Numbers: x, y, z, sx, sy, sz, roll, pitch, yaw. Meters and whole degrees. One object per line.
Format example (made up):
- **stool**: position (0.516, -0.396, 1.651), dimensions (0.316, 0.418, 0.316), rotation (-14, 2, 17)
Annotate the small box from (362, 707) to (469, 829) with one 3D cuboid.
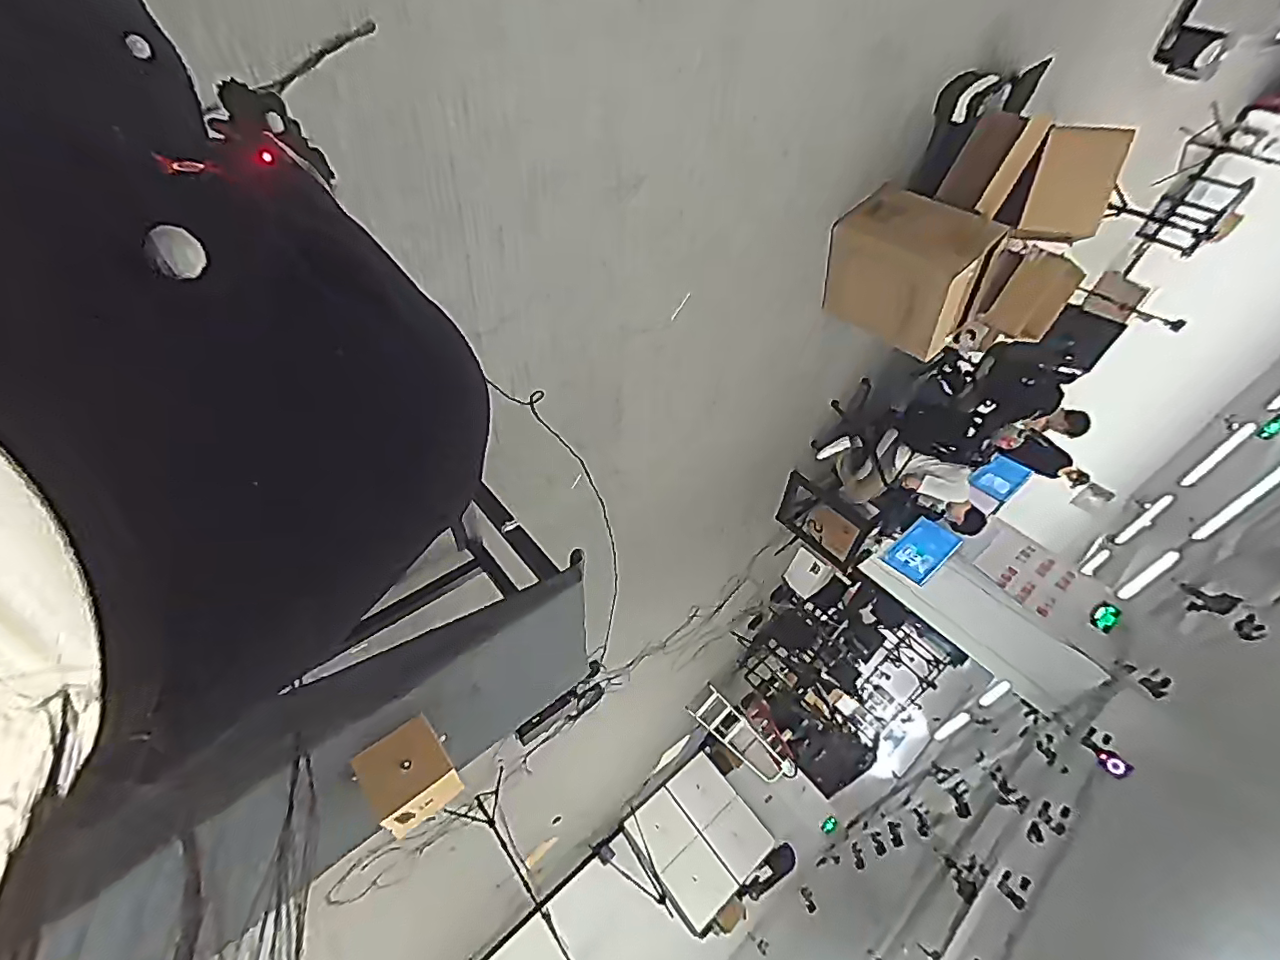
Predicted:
- **small box**: position (-0.545, 0.690, 1.304), dimensions (0.179, 0.176, 0.168), rotation (-31, 146, -25)
